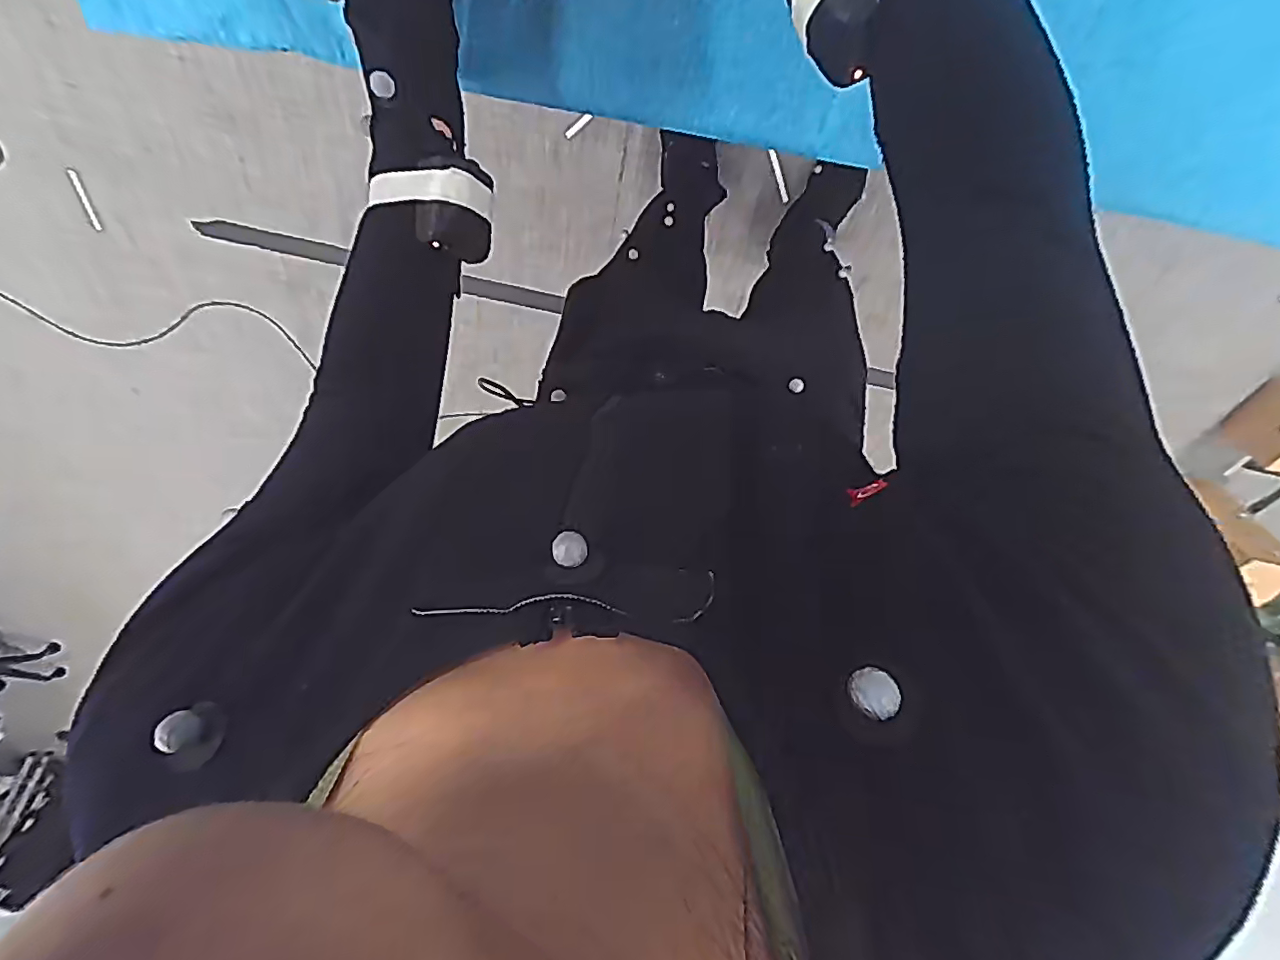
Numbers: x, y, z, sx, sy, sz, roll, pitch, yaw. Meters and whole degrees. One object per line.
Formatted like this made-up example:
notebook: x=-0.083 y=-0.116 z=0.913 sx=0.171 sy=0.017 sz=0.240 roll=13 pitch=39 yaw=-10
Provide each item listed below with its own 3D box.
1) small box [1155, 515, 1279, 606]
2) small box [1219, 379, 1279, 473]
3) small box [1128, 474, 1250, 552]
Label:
small box: x=1.601 y=0.218 z=1.484 sx=0.179 sy=0.176 sz=0.168 roll=14 pitch=133 yaw=-5
small box: x=1.655 y=-0.133 z=1.367 sx=0.168 sy=0.176 sz=0.179 roll=8 pitch=135 yaw=0
small box: x=1.618 y=0.113 z=1.608 sx=0.168 sy=0.176 sz=0.179 roll=13 pitch=135 yaw=-7
